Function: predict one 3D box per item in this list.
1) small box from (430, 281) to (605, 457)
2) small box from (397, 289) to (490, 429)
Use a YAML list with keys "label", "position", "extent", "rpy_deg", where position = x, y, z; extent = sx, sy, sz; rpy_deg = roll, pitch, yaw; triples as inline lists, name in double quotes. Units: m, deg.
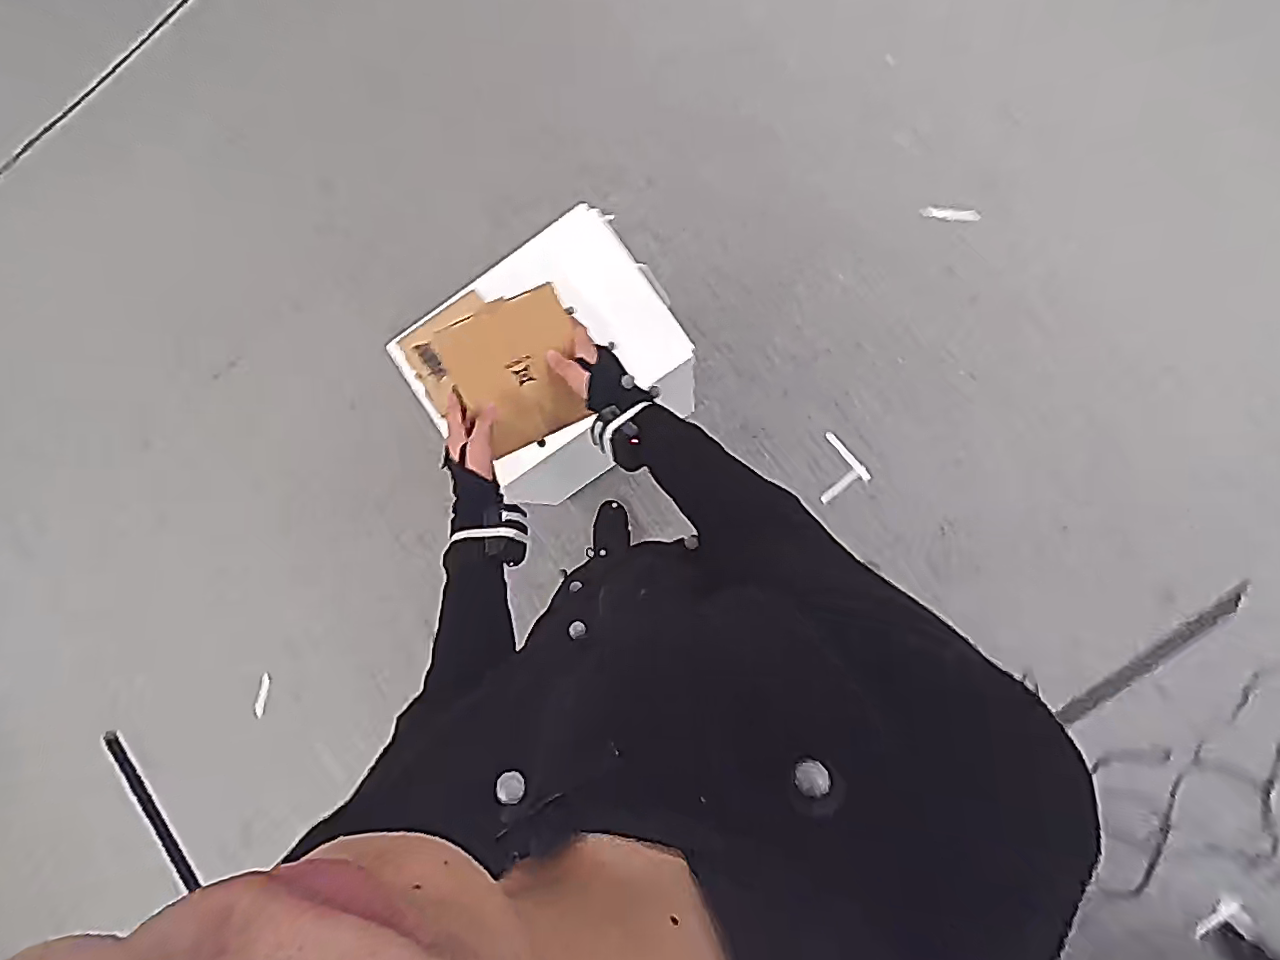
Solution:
- label: "small box"
  position: [-0.161, -0.150, 0.759]
  extent: [0.168, 0.176, 0.179]
  rpy_deg: [-26, 101, -4]
- label: "small box"
  position: [-0.309, -0.216, 1.021]
  extent: [0.179, 0.176, 0.168]
  rpy_deg: [-34, 84, 2]
